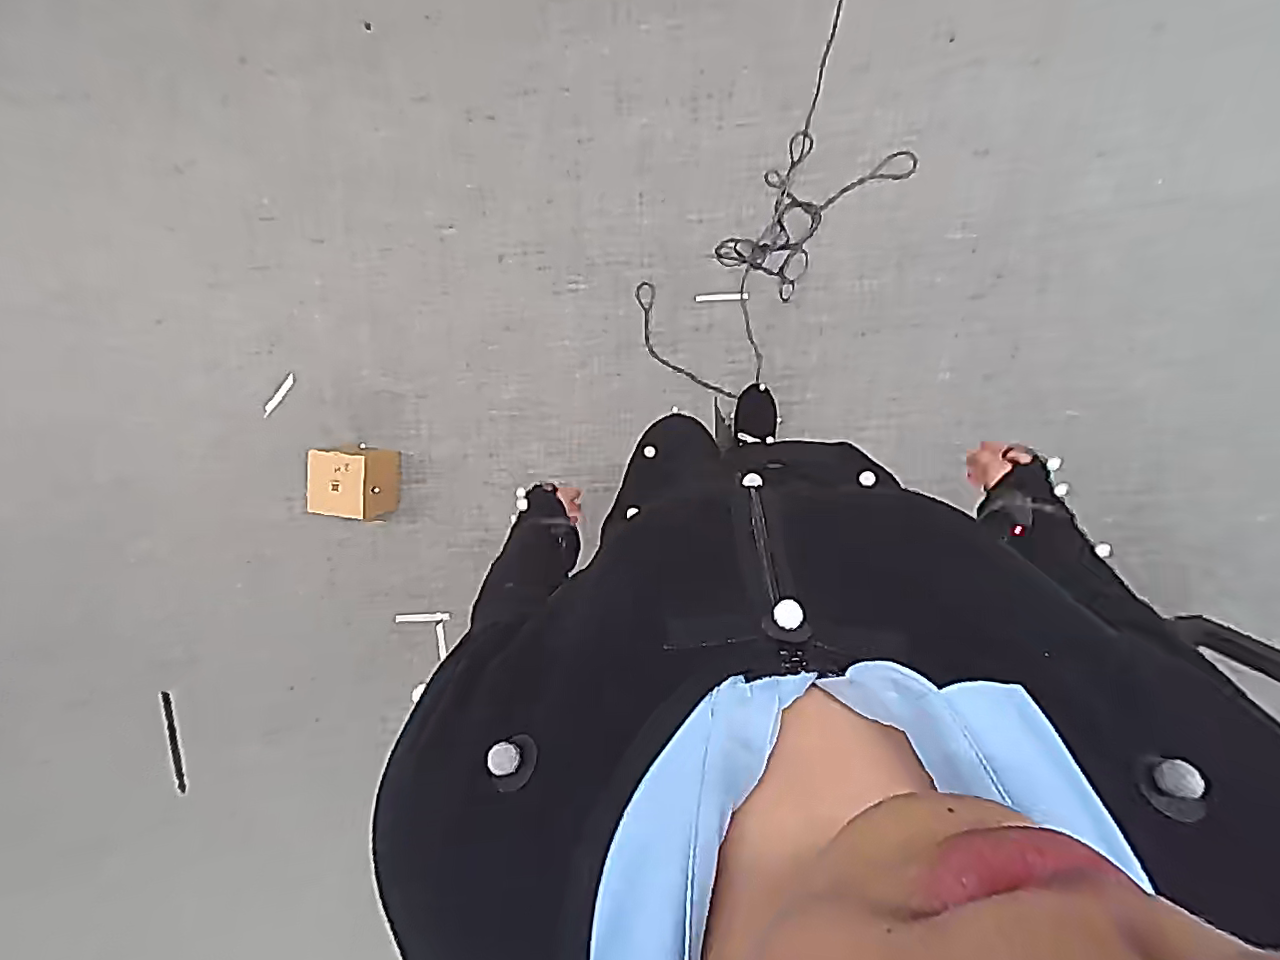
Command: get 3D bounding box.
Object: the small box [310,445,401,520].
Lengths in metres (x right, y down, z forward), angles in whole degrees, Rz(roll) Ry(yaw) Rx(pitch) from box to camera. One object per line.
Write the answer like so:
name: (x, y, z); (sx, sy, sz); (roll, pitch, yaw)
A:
small box: (-0.798, 0.001, 1.529); (0.168, 0.176, 0.179); (8, 98, 5)
